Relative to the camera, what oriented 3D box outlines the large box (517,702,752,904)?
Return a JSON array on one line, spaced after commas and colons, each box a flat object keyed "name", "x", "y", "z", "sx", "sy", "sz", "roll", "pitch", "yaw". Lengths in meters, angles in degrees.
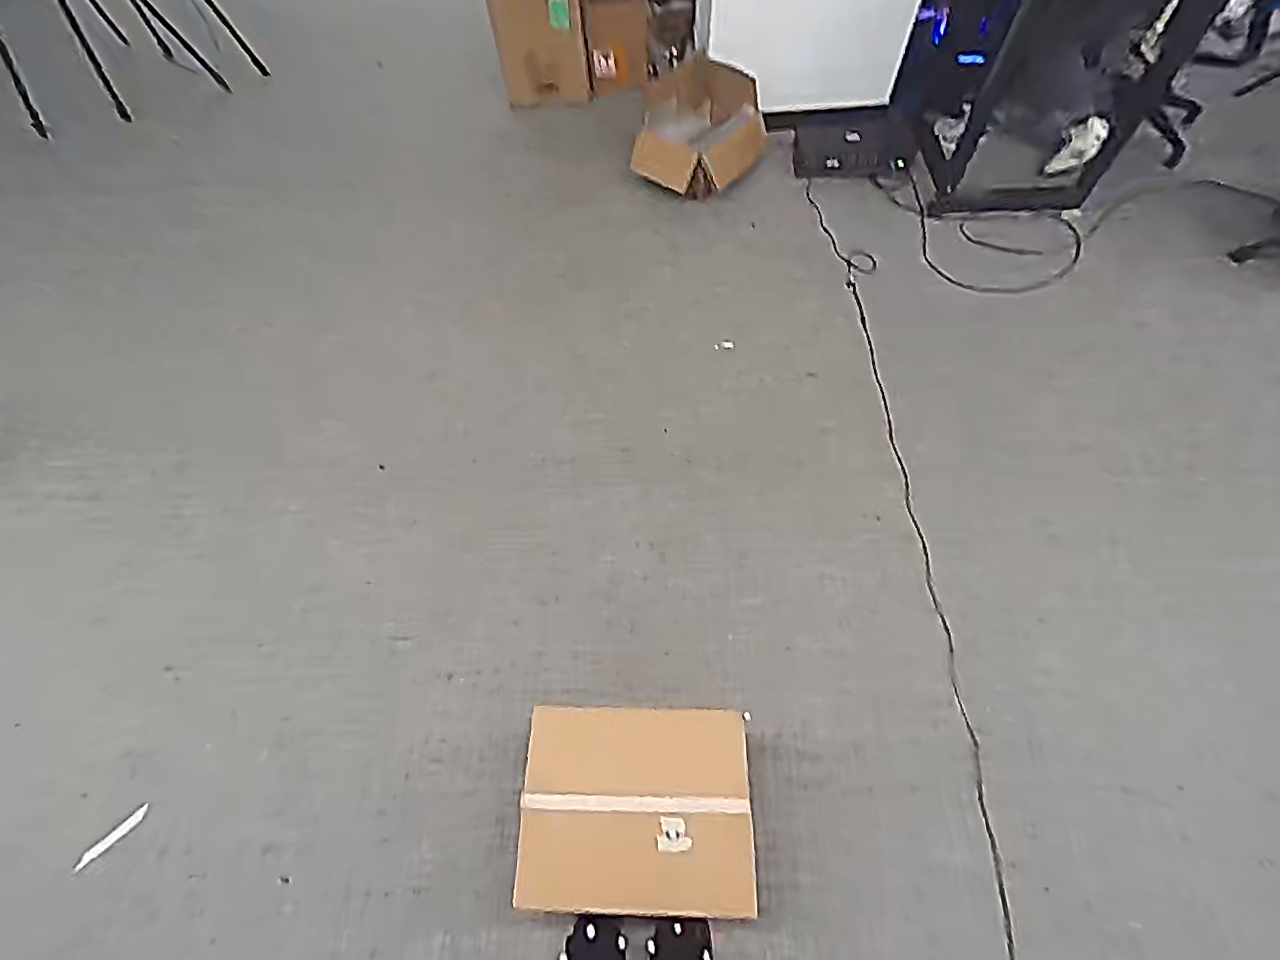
[{"name": "large box", "x": -0.008, "y": 0.642, "z": 1.101, "sx": 0.408, "sy": 0.320, "sz": 0.320, "roll": 0, "pitch": 61, "yaw": 2}]
